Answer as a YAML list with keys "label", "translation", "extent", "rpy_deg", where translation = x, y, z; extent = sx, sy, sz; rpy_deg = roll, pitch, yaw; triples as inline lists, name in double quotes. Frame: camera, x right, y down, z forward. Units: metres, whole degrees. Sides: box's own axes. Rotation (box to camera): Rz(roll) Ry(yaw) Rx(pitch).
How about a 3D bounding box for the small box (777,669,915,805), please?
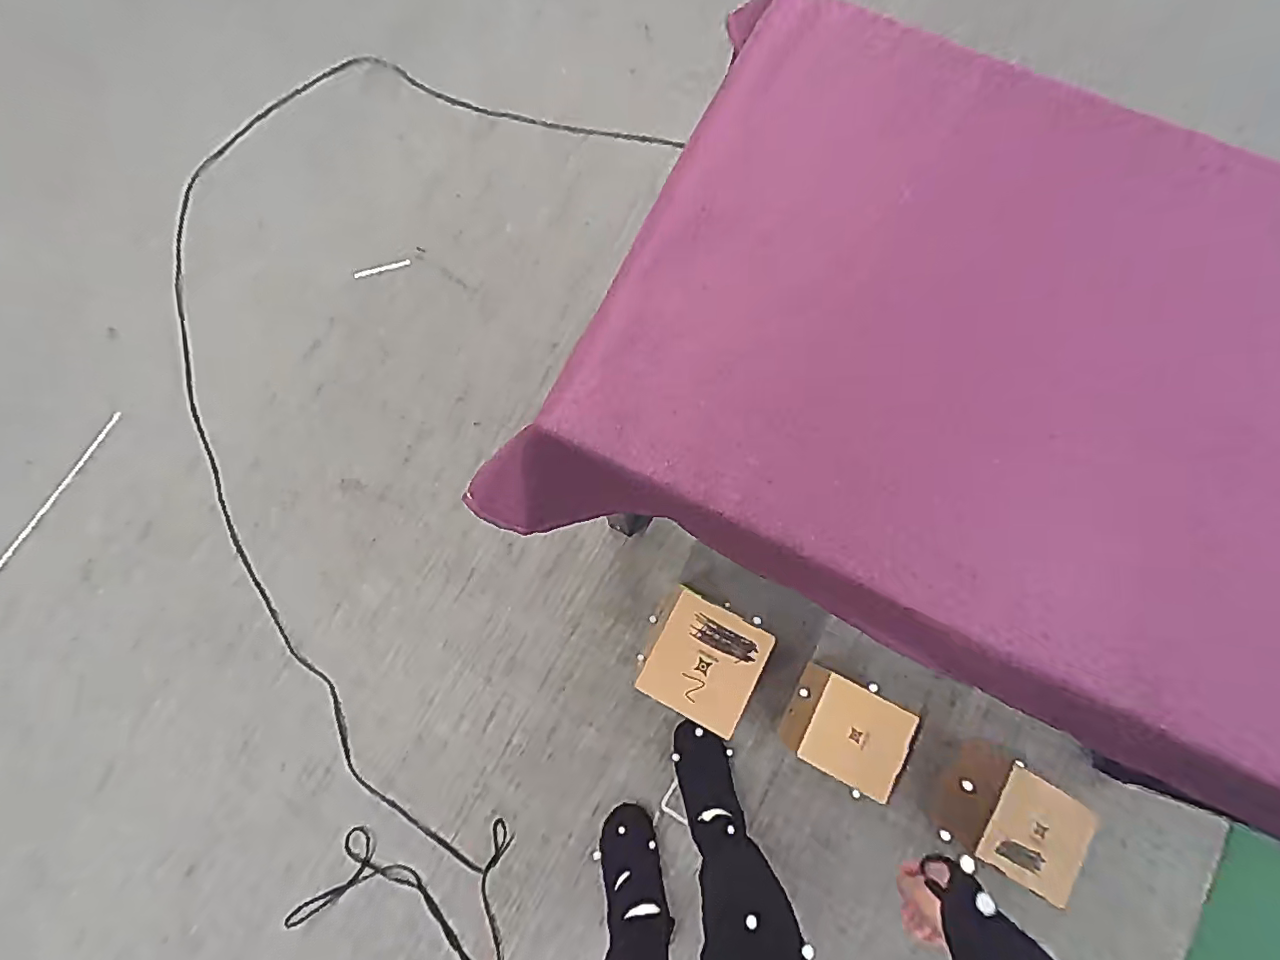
- label: "small box"
  translation: [0.389, 0.486, 1.055]
  extent: [0.179, 0.176, 0.168]
  rpy_deg: [27, 80, 6]
